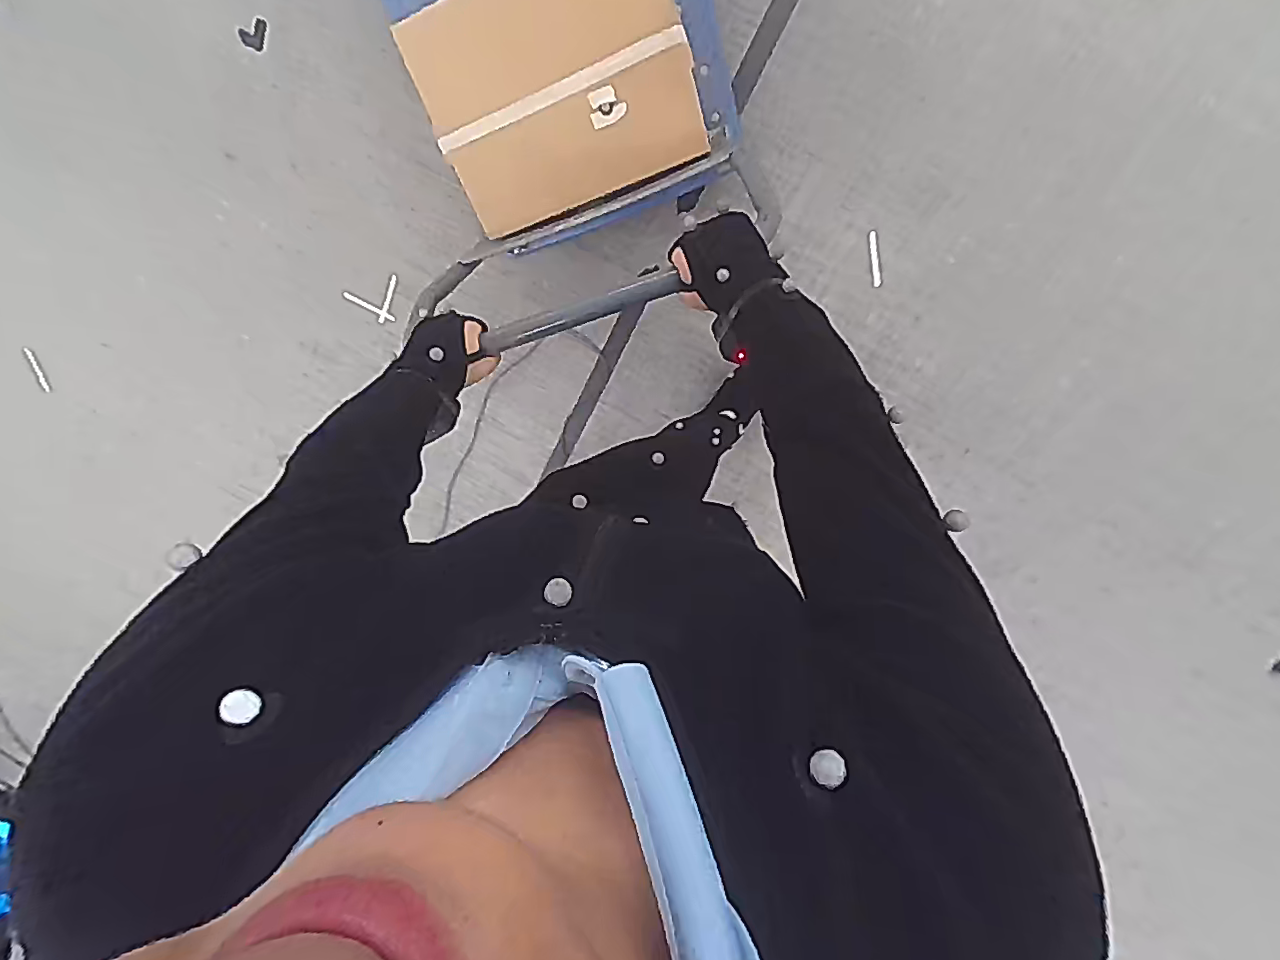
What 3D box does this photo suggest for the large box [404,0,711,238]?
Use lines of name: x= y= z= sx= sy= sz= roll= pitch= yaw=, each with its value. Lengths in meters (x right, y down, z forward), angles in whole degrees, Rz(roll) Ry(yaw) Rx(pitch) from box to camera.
large box: x=-0.116 y=-0.682 z=0.966 sx=0.408 sy=0.320 sz=0.320 roll=-17 pitch=120 yaw=13
